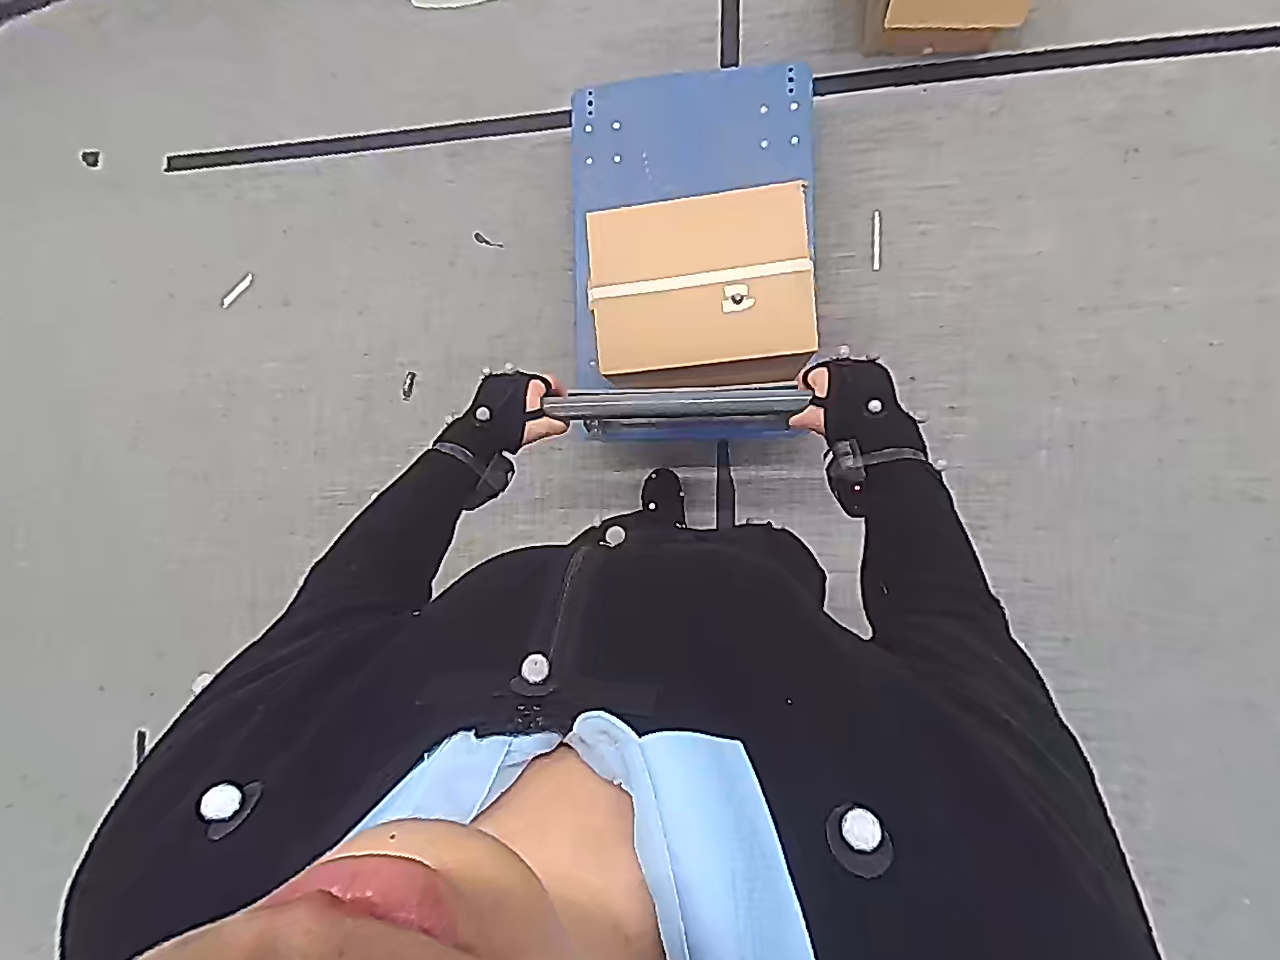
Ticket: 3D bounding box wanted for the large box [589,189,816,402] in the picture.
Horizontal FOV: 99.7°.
[{"bbox_3d":[0.127,-0.361,1.157,0.408,0.320,0.320,-5,90,6],"label":"large box"}]
